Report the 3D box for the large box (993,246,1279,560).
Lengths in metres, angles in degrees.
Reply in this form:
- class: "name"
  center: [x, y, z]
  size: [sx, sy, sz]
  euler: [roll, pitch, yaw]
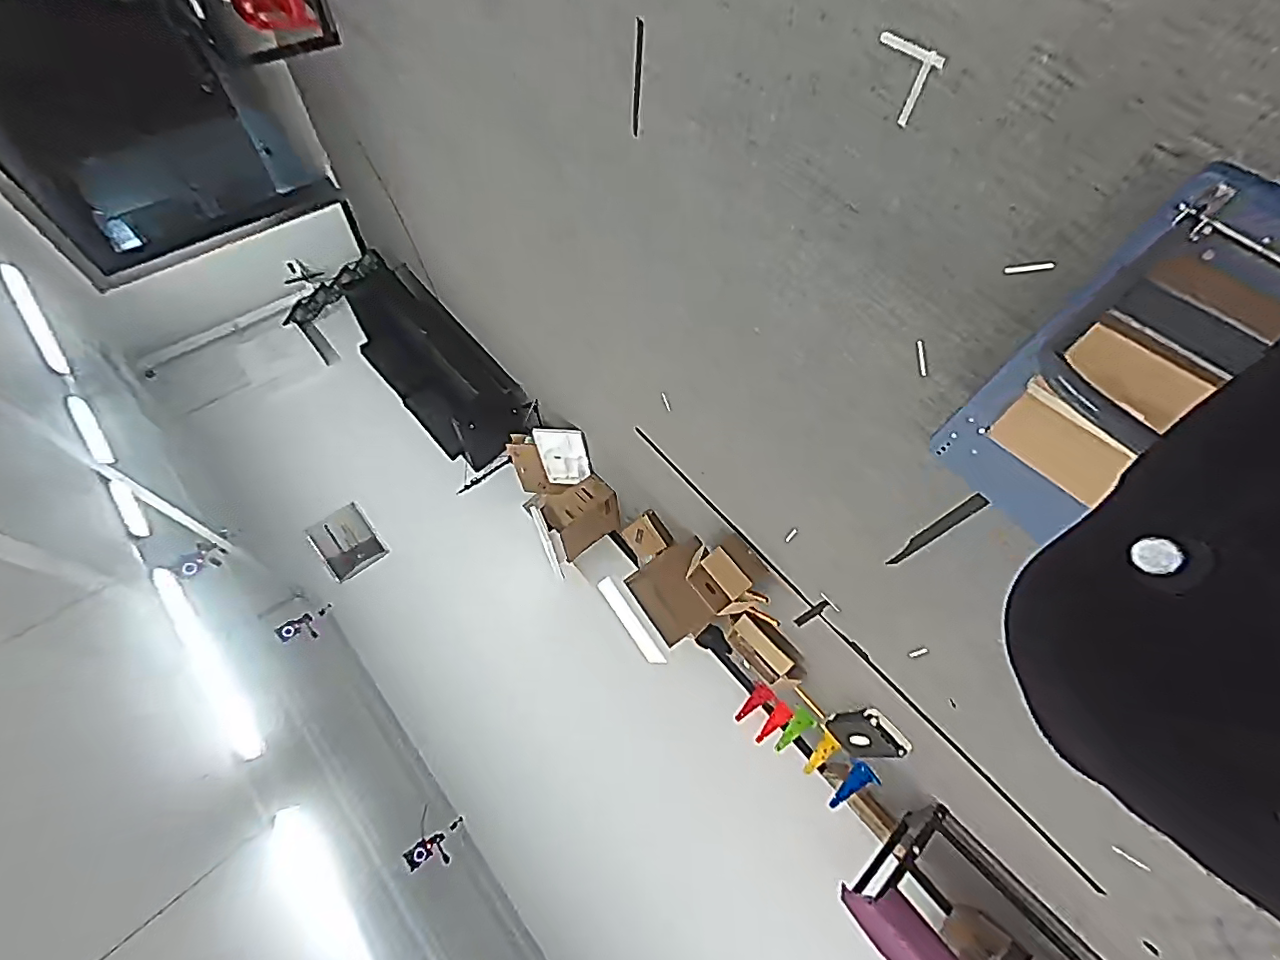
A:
- class: "large box"
  center: [0.978, -0.140, 0.970]
  size: [0.408, 0.320, 0.320]
  euler: [46, 157, 23]
